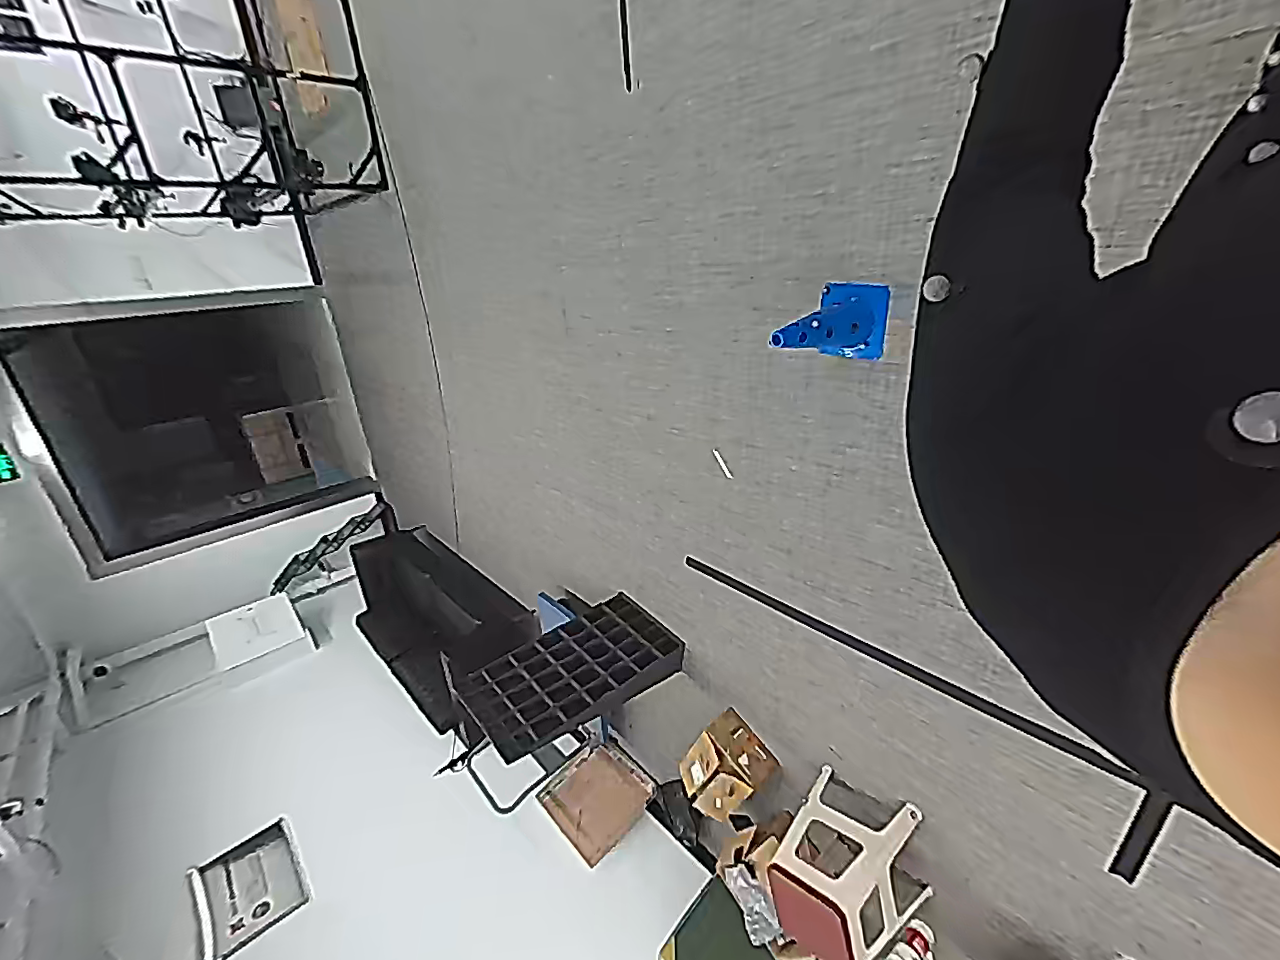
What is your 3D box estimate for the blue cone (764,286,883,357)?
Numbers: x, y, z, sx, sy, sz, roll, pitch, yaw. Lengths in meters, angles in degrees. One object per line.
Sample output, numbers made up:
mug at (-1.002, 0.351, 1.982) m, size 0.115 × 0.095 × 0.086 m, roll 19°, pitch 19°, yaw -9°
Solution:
blue cone at (0.470, -0.403, 1.443) m, size 0.192 × 0.380 × 0.193 m, roll 26°, pitch 127°, yaw 44°
